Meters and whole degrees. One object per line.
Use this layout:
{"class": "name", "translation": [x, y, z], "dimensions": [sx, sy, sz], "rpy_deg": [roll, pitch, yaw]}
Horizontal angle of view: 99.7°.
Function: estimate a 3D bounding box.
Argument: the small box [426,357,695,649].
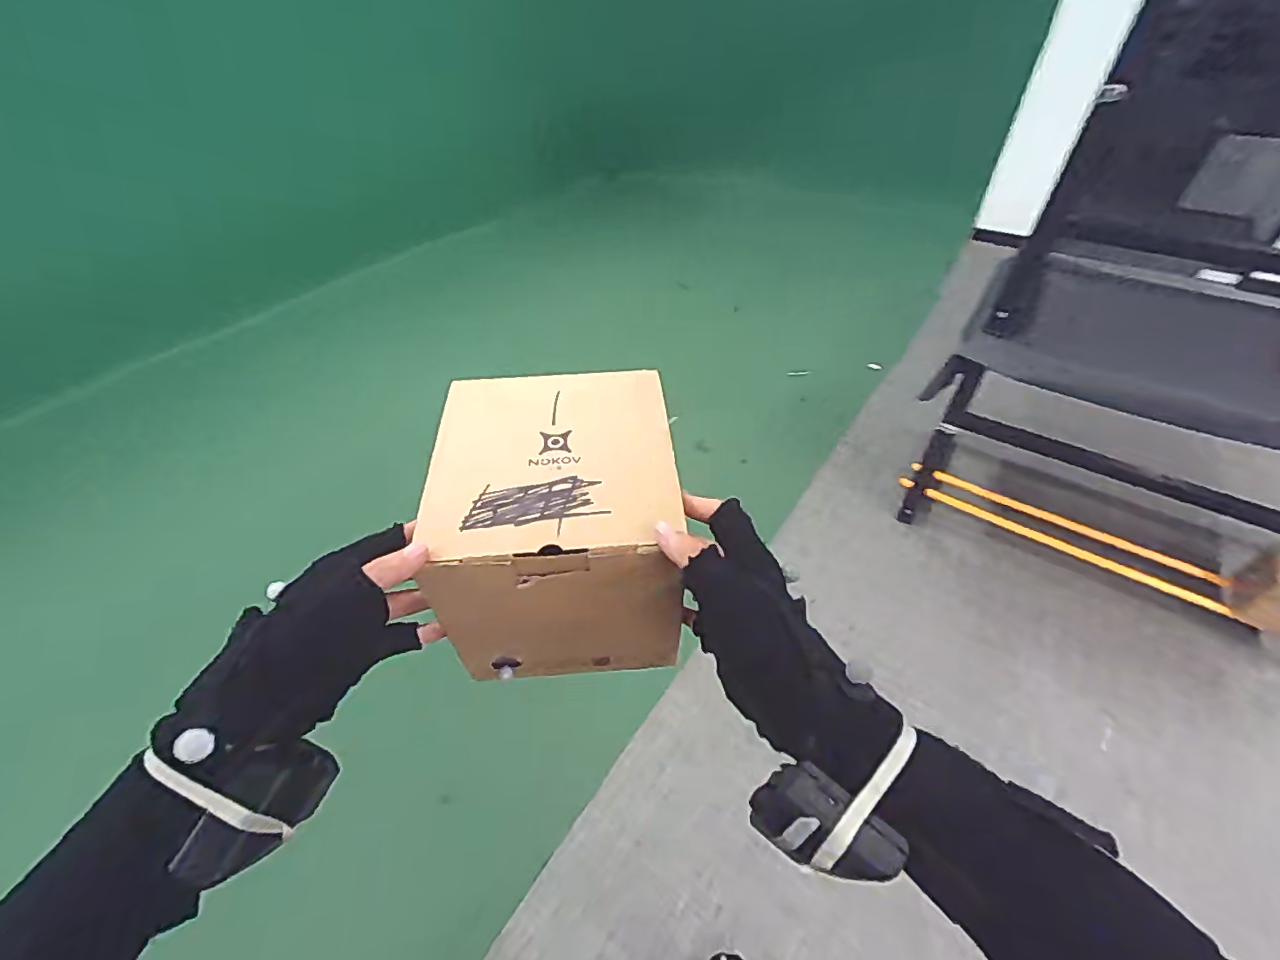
{"class": "small box", "translation": [-0.050, 0.023, 0.435], "dimensions": [0.168, 0.176, 0.179], "rpy_deg": [-3, 46, -3]}
